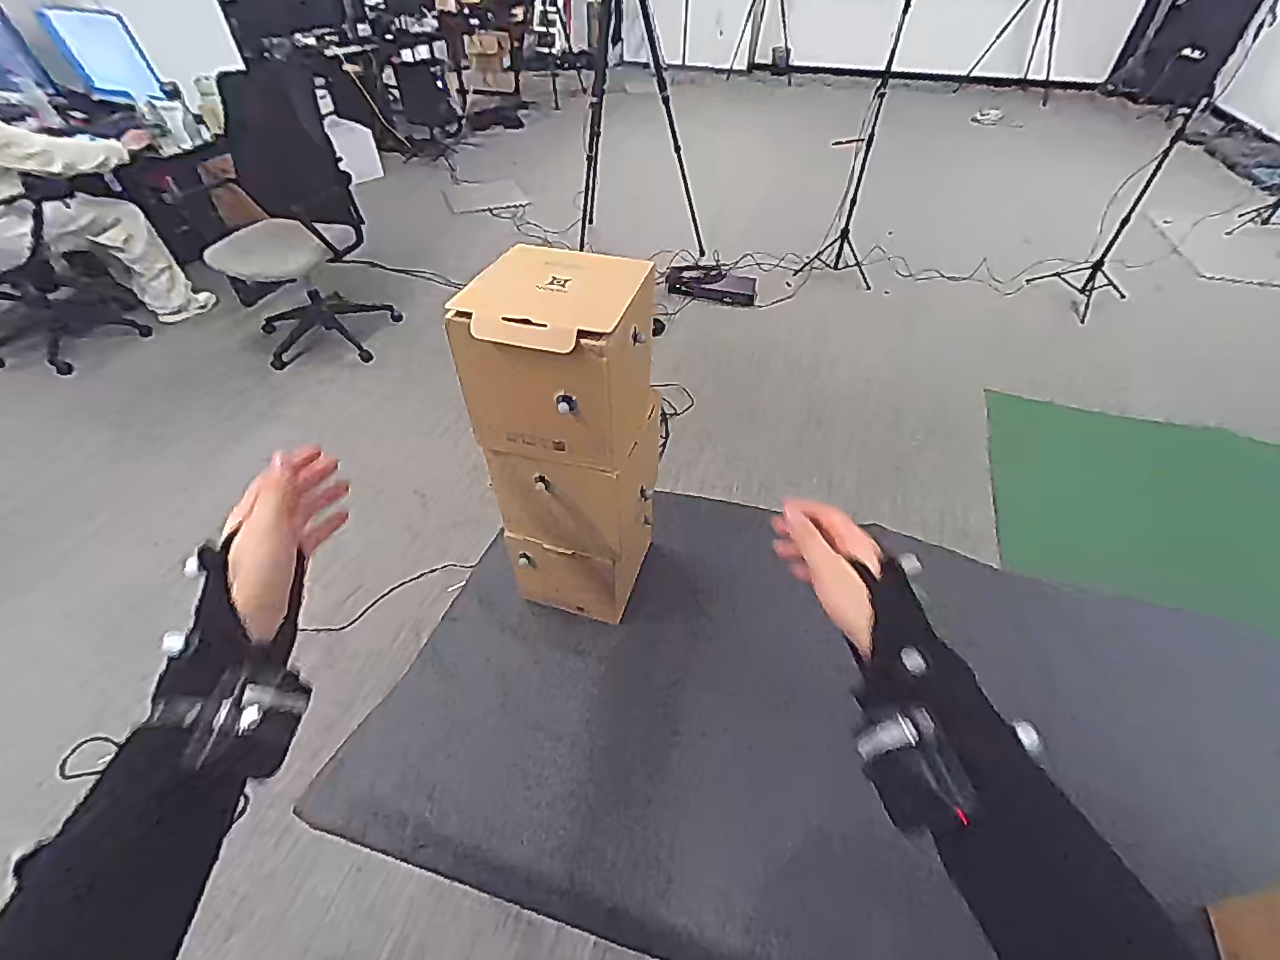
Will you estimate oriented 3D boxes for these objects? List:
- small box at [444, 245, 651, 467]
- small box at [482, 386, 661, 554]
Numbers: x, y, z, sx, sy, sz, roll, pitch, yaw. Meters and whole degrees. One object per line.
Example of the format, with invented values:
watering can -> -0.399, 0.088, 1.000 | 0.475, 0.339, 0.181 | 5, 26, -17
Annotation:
small box -> -0.087, -0.138, 0.607 | 0.168, 0.176, 0.179 | 11, 46, 9
small box -> -0.080, -0.024, 0.723 | 0.179, 0.176, 0.168 | 14, 49, 12
